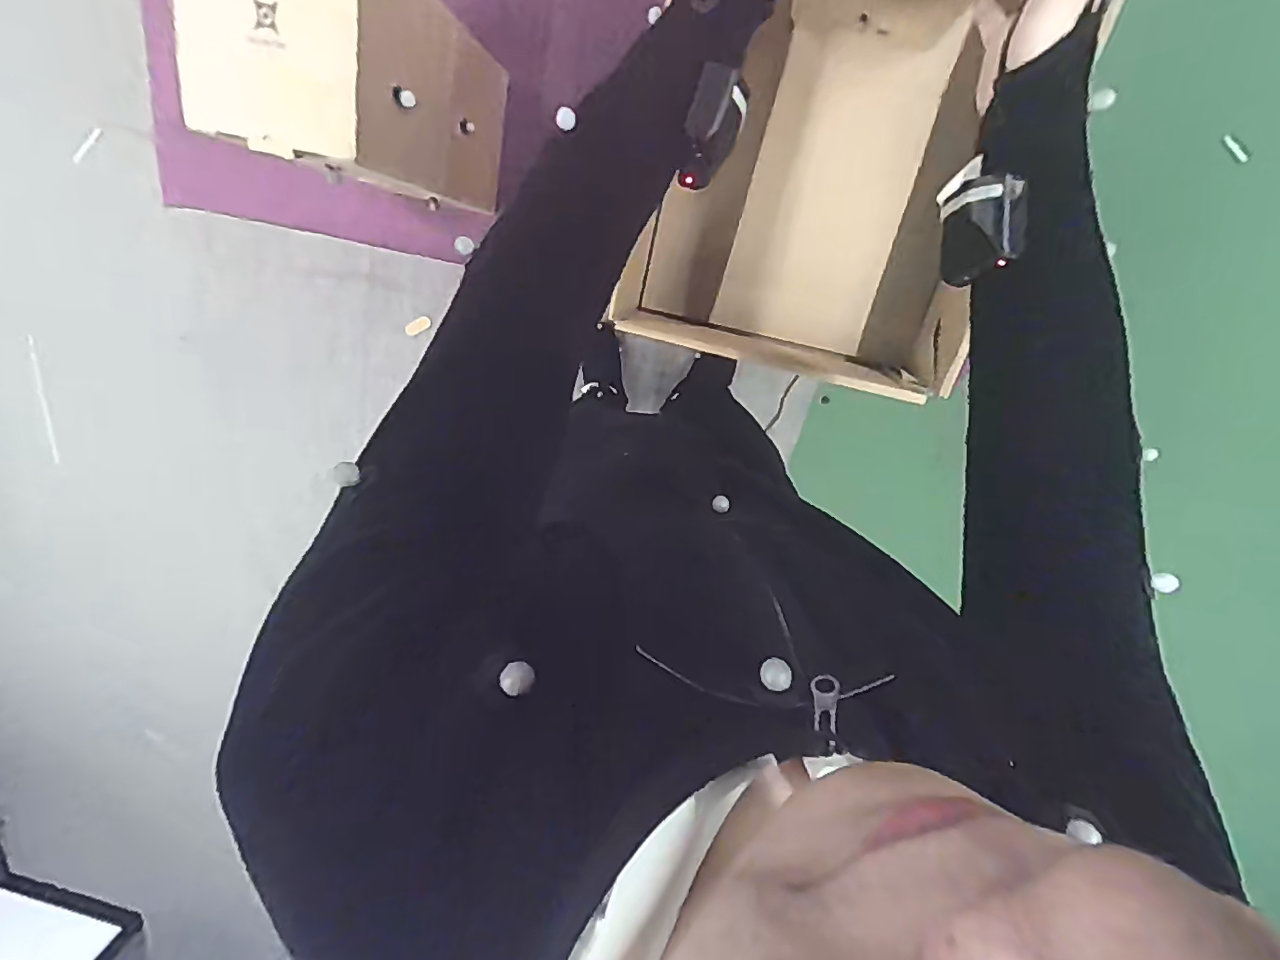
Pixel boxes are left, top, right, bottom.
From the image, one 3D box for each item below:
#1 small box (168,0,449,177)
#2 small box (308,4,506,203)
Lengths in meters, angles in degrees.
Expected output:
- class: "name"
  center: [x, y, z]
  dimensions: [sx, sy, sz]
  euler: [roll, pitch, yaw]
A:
- class: "small box"
  center: [-0.301, -0.411, 0.519]
  dimensions: [0.168, 0.176, 0.179]
  euler: [14, 111, 2]
- class: "small box"
  center: [-0.280, -0.464, 0.673]
  dimensions: [0.168, 0.176, 0.179]
  euler: [15, 110, 2]
